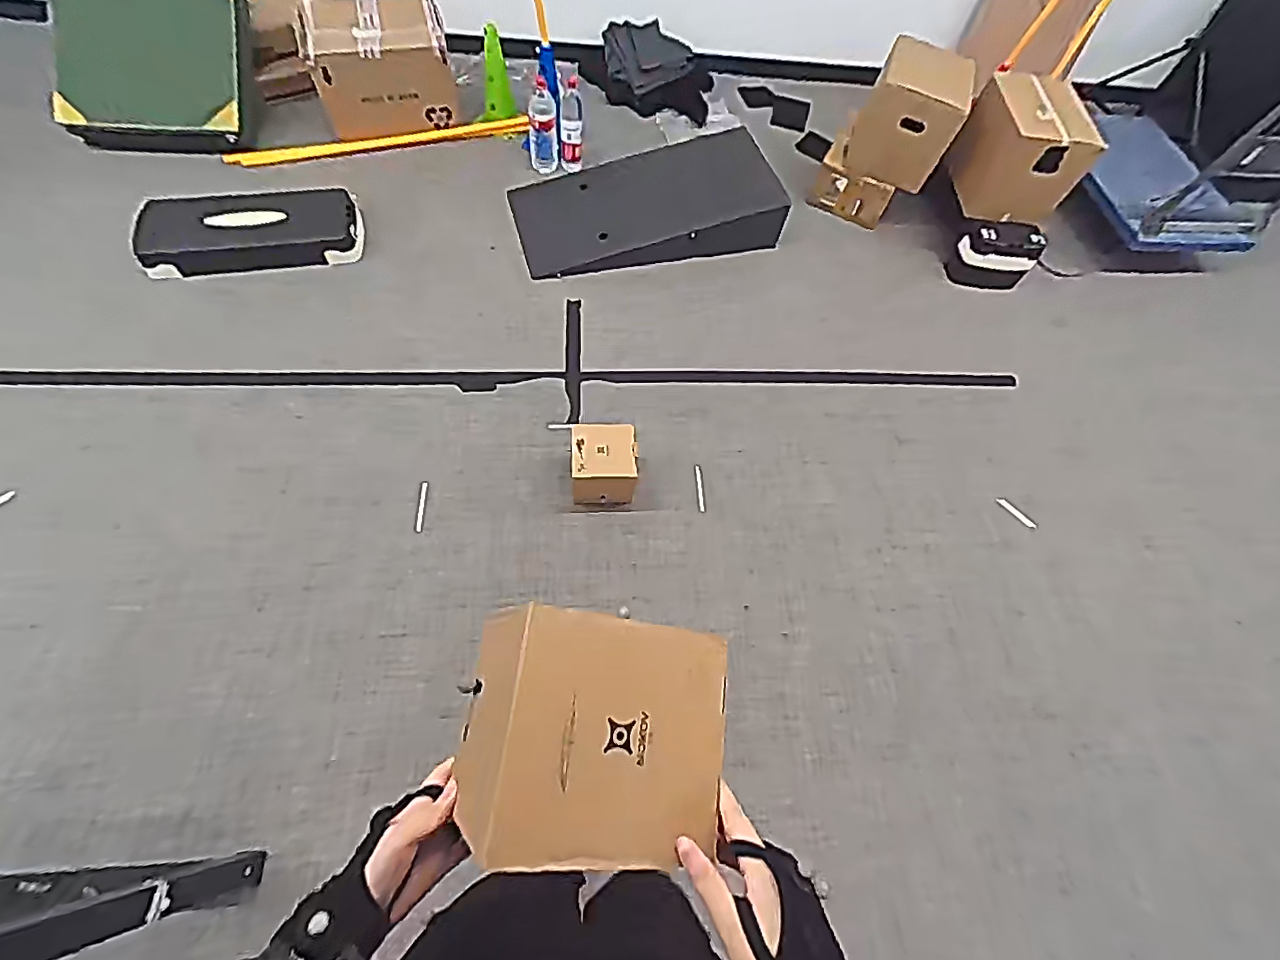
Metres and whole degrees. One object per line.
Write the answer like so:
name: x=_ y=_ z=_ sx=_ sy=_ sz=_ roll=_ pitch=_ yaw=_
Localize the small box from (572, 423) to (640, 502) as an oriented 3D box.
small box: x=-0.100 y=-0.046 z=1.525 sx=0.179 sy=0.176 sz=0.168 roll=0 pitch=63 yaw=-7
